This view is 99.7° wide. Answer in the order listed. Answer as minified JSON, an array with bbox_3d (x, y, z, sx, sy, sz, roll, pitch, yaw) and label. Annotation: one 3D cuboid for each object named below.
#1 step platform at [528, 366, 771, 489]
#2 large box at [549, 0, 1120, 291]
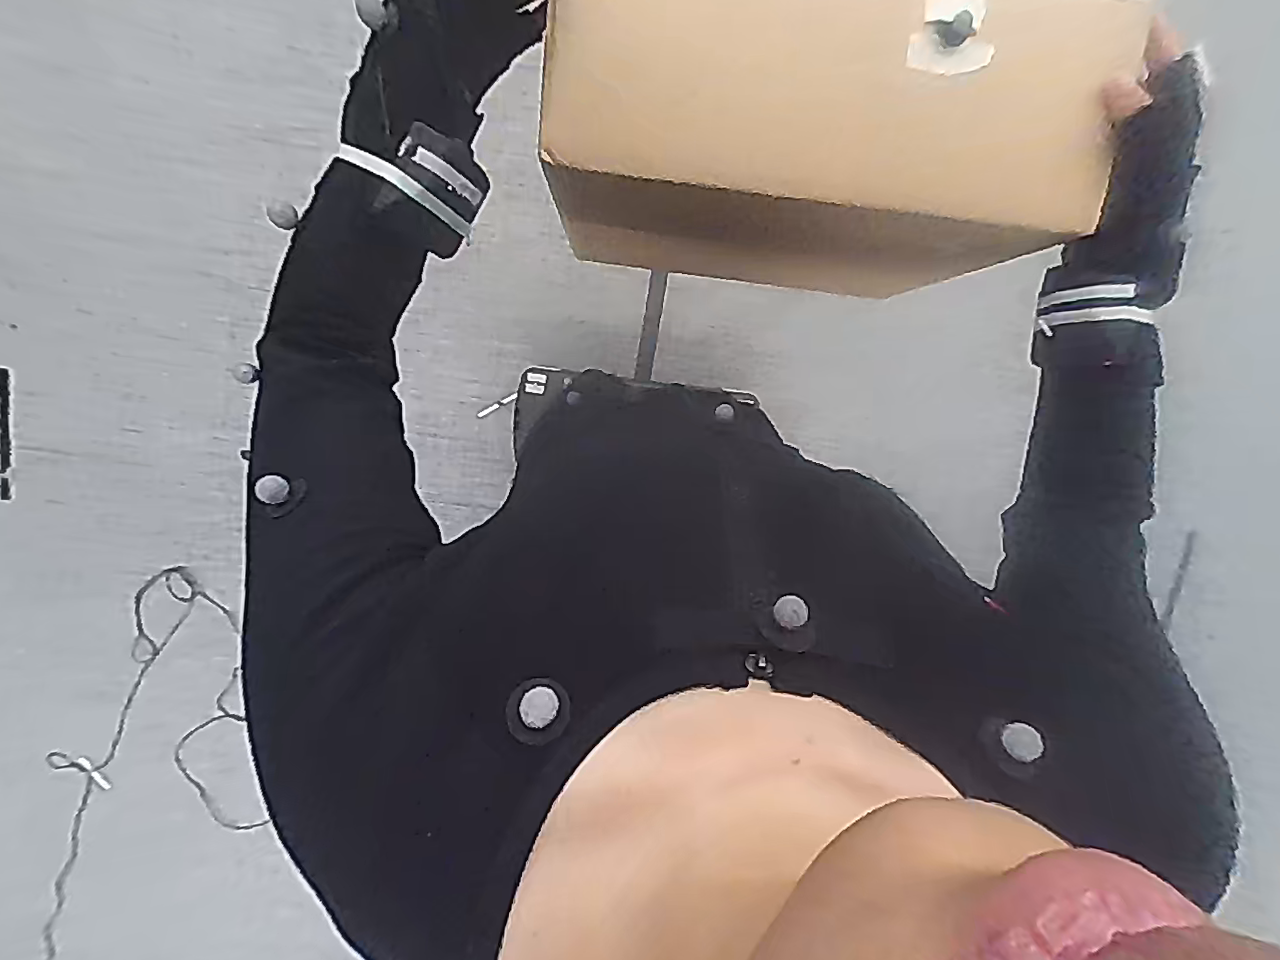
[{"bbox_3d":[0.024,-0.151,1.559,0.684,0.204,0.286,6,100,-3],"label":"step platform"},{"bbox_3d":[0.136,-0.384,0.519,0.408,0.320,0.320,6,100,-4],"label":"large box"}]
